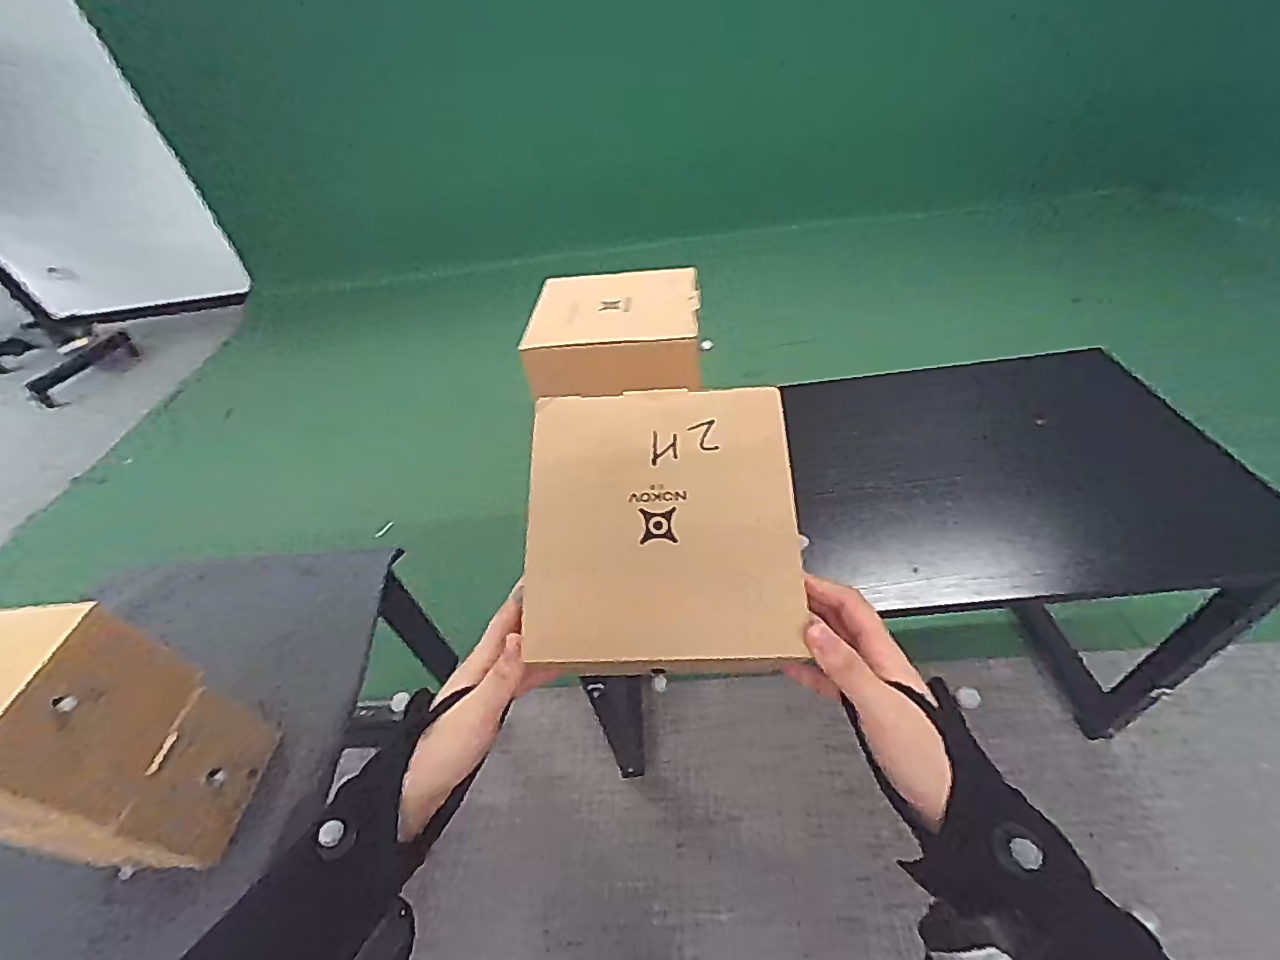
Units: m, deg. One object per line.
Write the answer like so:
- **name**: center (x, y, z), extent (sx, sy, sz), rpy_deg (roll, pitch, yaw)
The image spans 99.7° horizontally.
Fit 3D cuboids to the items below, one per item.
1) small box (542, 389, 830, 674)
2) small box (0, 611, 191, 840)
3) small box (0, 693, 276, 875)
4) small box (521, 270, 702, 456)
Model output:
- **small box**: center (0.031, 0.052, 0.405), extent (0.168, 0.176, 0.179), rpy_deg (-2, 68, 3)
- **small box**: center (-0.645, 0.264, 0.581), extent (0.168, 0.176, 0.179), rpy_deg (-6, 45, 7)
- **small box**: center (-0.619, 0.386, 0.687), extent (0.179, 0.176, 0.168), rpy_deg (-5, 45, 7)
- **small box**: center (-0.017, -0.121, 0.625), extent (0.179, 0.176, 0.168), rpy_deg (-3, 42, 6)
